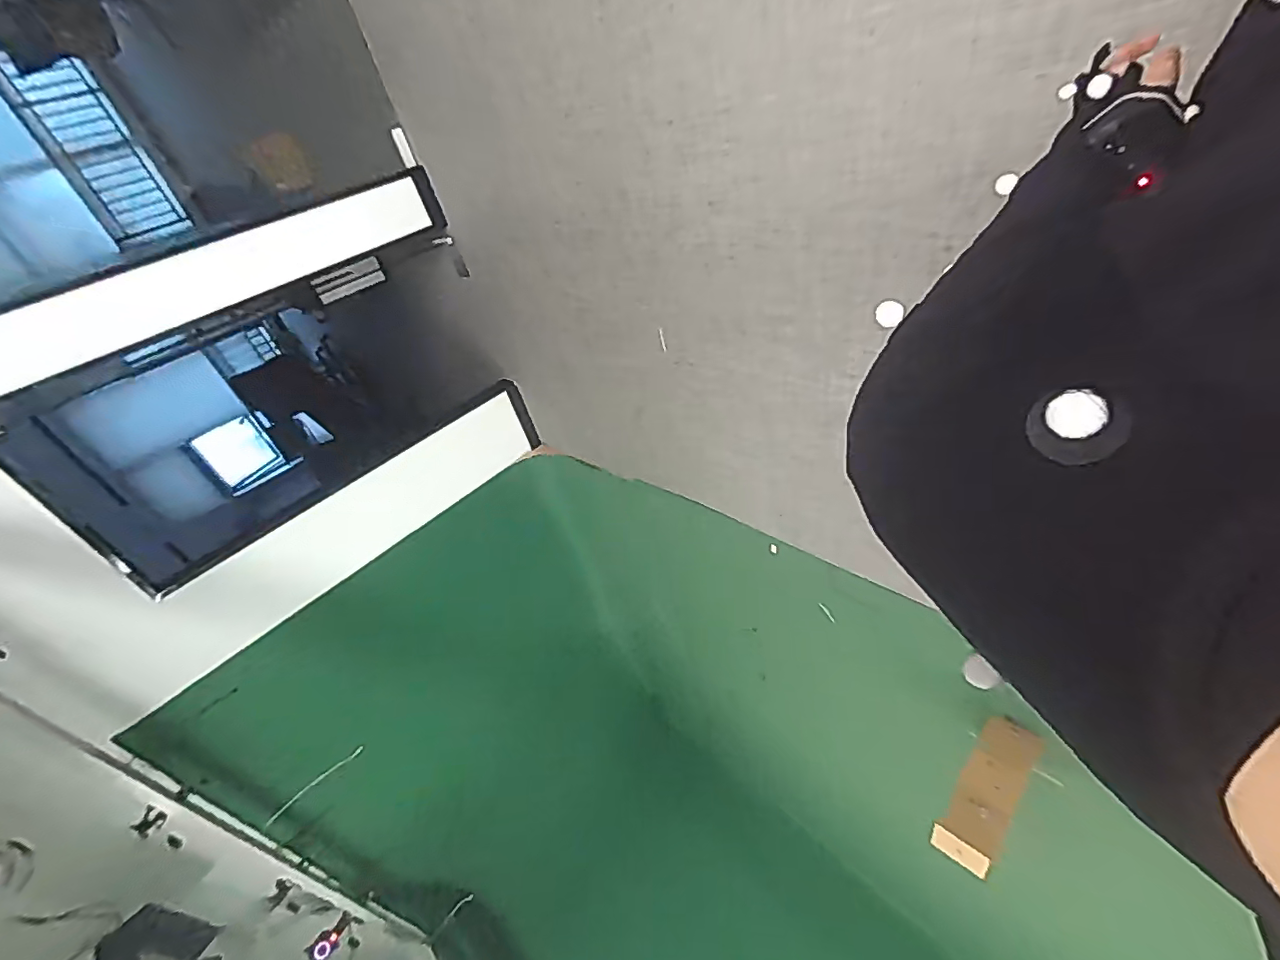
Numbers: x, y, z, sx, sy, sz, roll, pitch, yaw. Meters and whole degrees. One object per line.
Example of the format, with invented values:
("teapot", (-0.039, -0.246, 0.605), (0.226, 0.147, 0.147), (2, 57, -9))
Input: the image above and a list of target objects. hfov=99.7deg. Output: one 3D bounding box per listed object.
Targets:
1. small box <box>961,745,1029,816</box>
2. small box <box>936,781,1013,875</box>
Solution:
("small box", (1.228, 1.070, 1.888), (0.168, 0.176, 0.179), (25, 143, 40))
("small box", (1.117, 1.158, 1.806), (0.168, 0.176, 0.179), (22, 140, 41))
